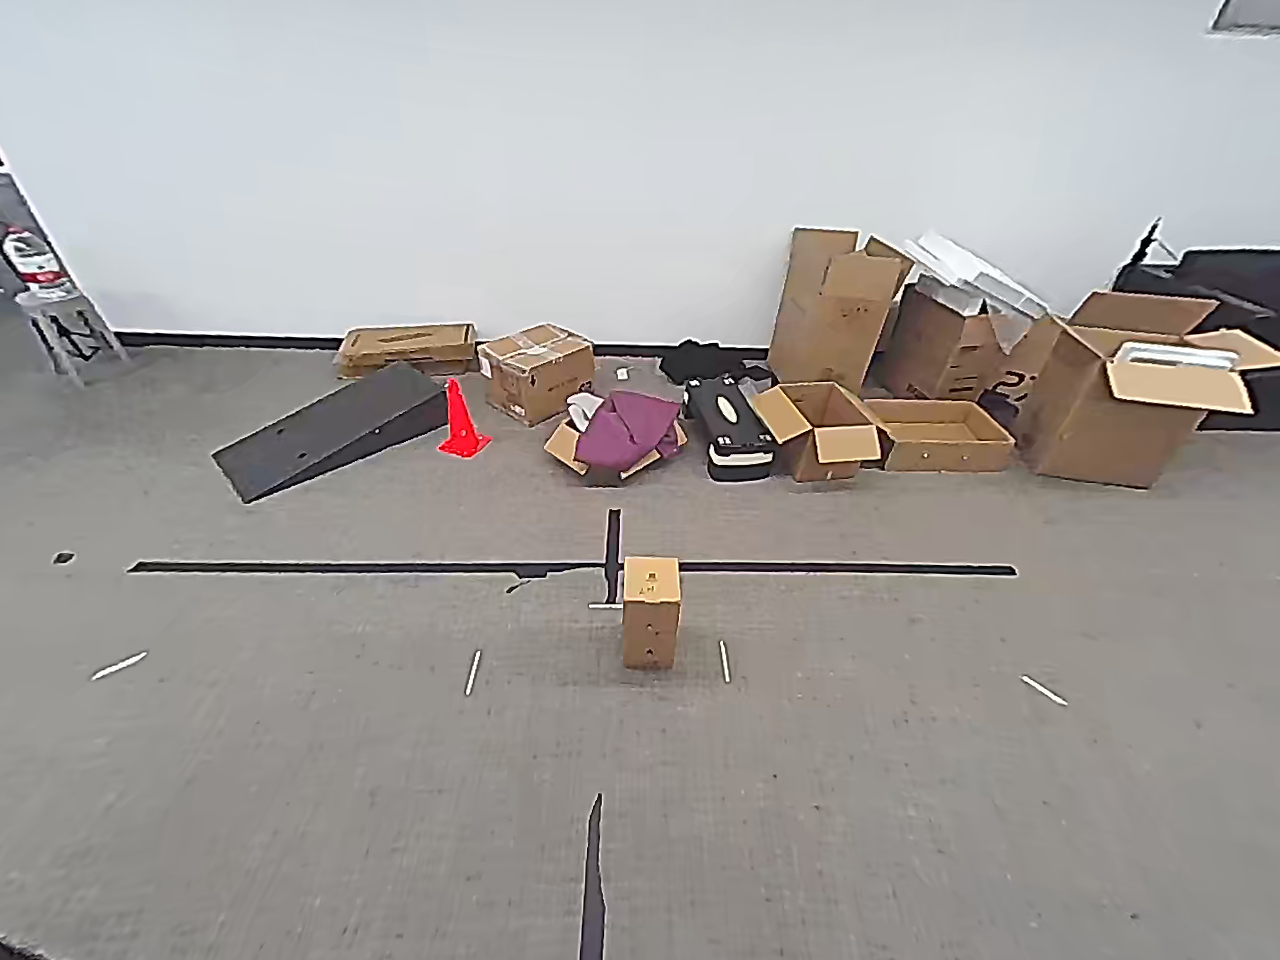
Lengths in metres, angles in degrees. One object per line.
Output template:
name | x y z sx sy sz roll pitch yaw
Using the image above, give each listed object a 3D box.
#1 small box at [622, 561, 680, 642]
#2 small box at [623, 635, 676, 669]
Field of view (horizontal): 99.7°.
small box | 0.031 0.368 1.647 0.168 0.176 0.179 1 37 -1
small box | 0.028 0.496 1.752 0.168 0.176 0.179 1 38 -2
